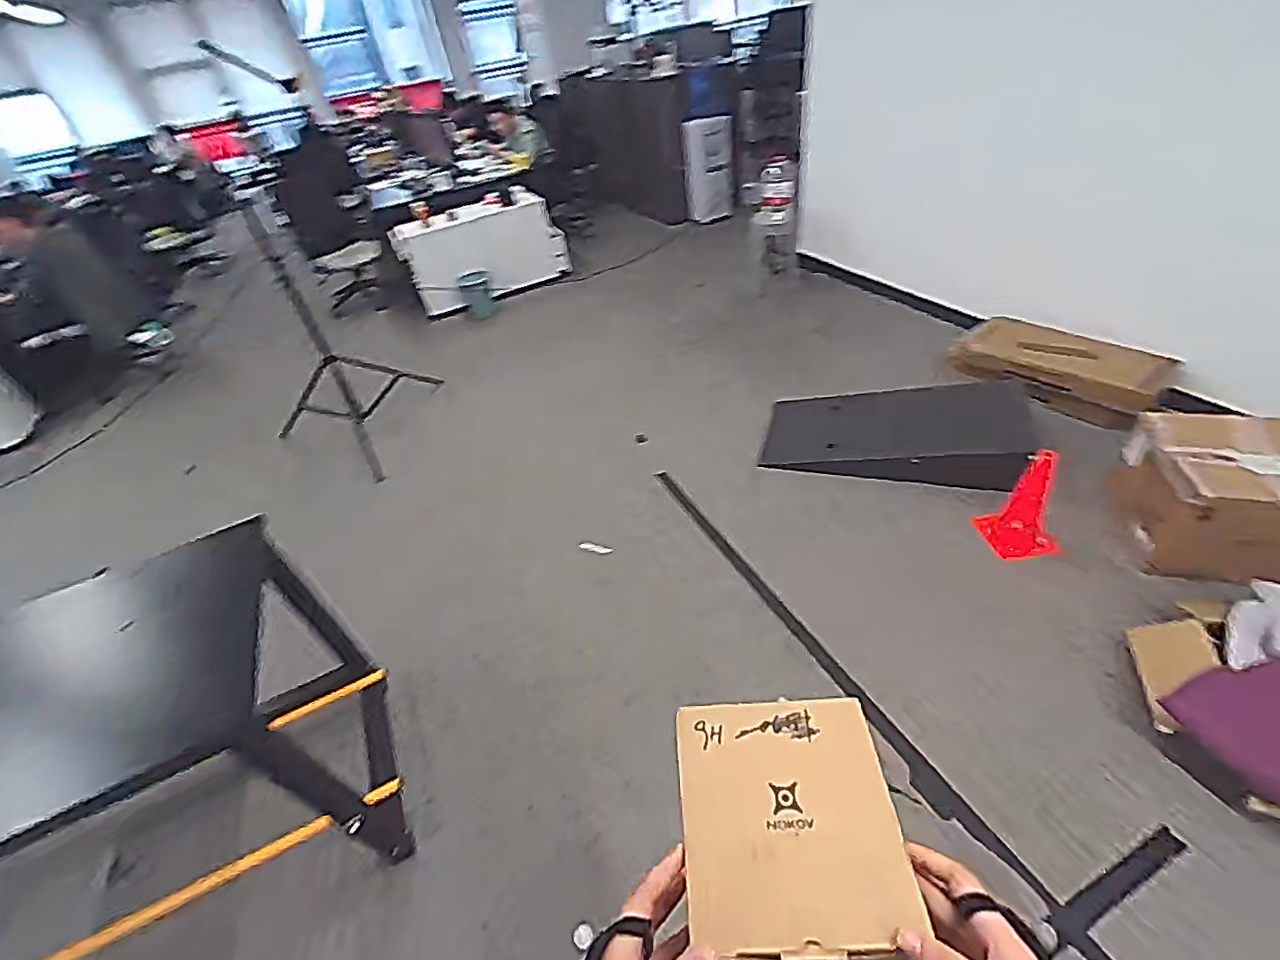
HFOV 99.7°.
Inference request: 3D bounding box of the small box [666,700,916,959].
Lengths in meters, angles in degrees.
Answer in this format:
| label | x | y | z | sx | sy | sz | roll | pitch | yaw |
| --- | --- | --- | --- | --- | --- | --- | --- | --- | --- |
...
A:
| label | x | y | z | sx | sy | sz | roll | pitch | yaw |
| --- | --- | --- | --- | --- | --- | --- | --- | --- | --- |
| small box | 0.113 | 0.321 | 0.483 | 0.168 | 0.176 | 0.179 | -5 | 44 | 2 |
